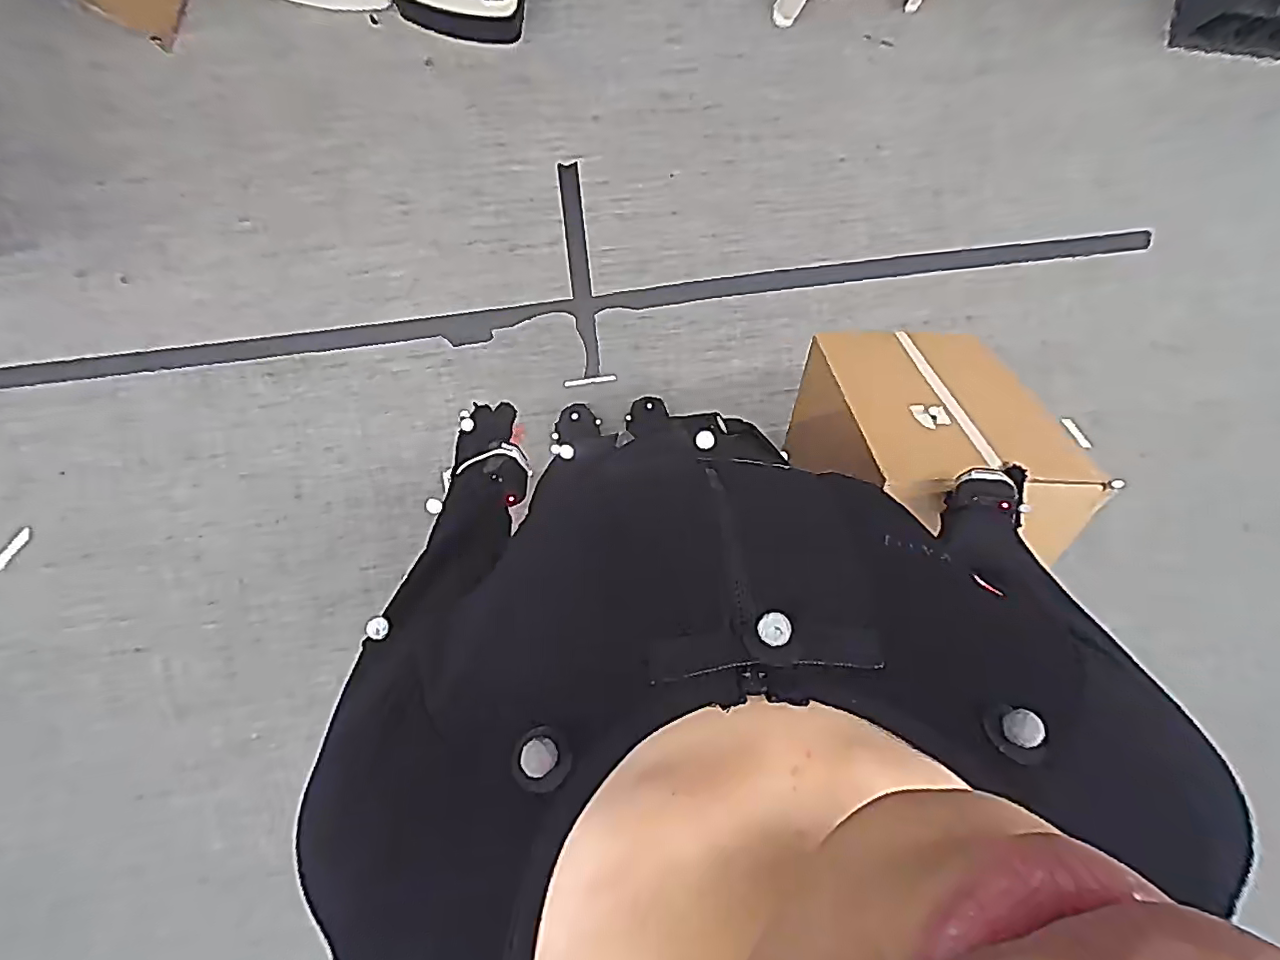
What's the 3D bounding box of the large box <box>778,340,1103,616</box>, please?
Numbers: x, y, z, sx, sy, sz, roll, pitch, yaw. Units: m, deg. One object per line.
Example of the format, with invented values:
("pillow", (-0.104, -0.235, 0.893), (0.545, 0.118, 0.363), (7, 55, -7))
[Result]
("large box", (0.470, -0.011, 0.974), (0.320, 0.408, 0.320), (1, 134, -2))
